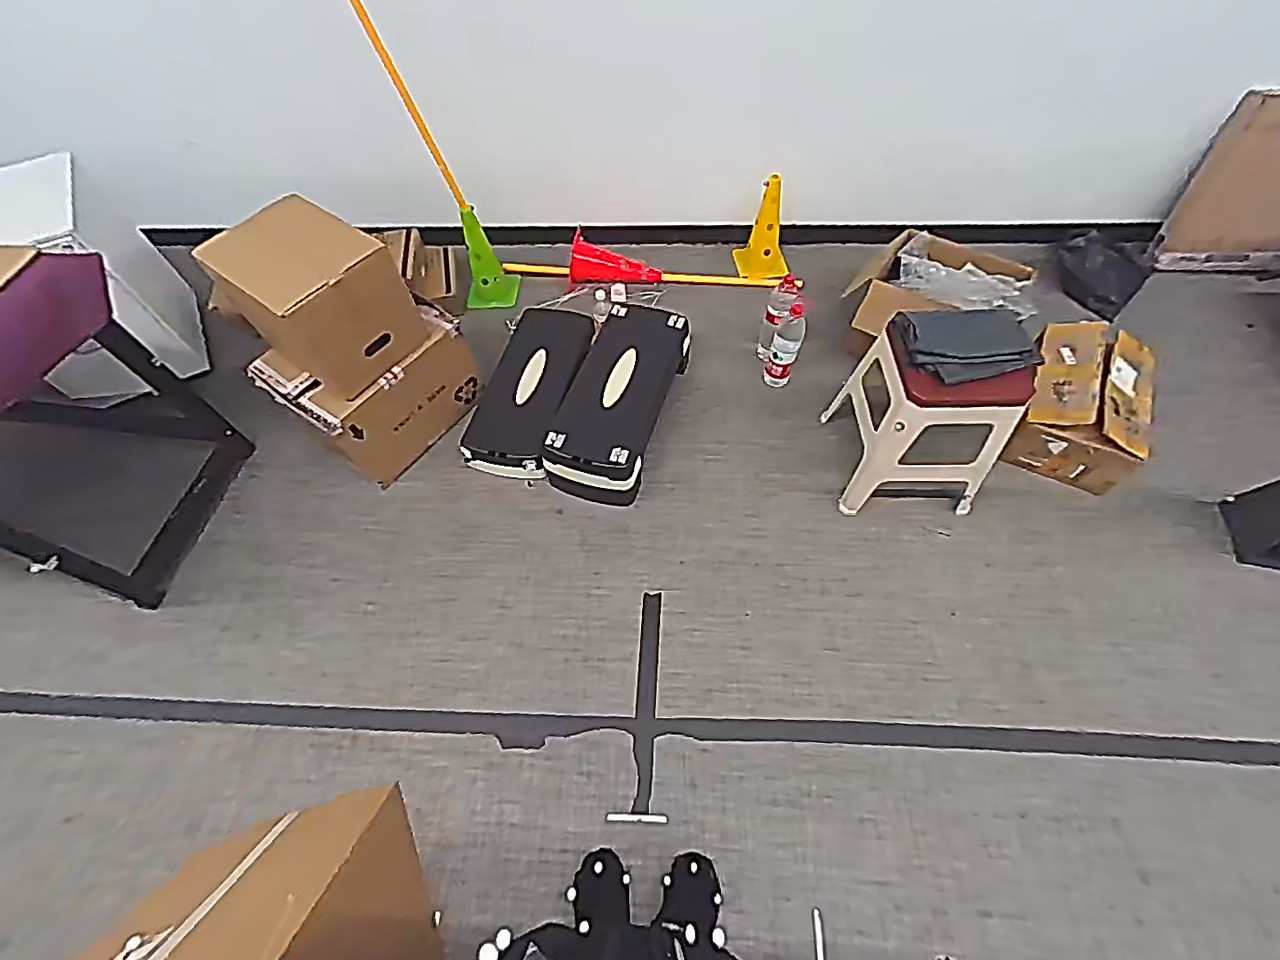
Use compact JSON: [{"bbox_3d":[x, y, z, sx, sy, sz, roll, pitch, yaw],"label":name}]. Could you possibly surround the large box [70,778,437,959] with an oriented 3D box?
[{"bbox_3d":[-0.486,0.666,0.679,0.320,0.408,0.320,-17,89,-8],"label":"large box"}]
